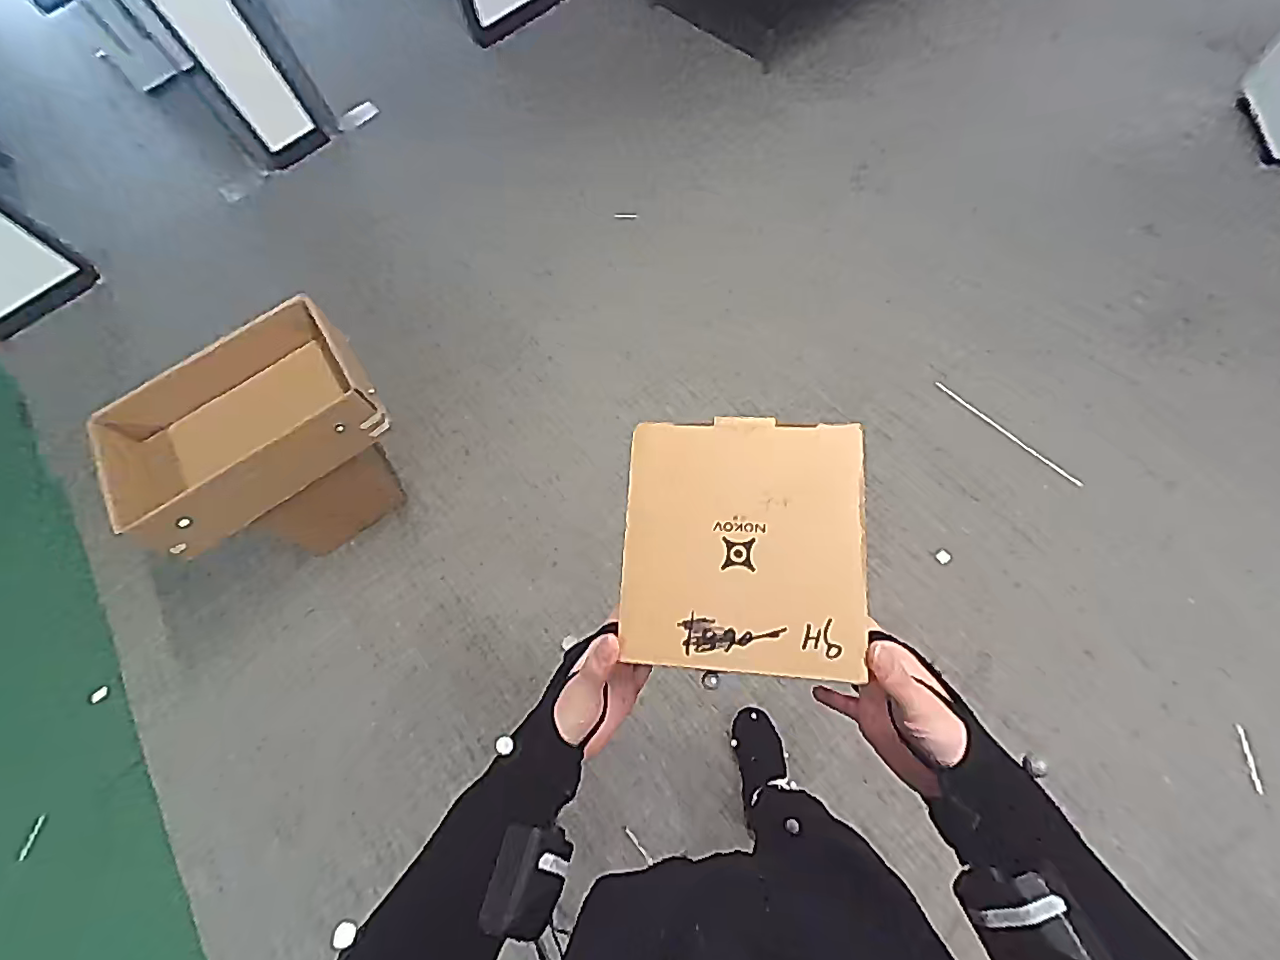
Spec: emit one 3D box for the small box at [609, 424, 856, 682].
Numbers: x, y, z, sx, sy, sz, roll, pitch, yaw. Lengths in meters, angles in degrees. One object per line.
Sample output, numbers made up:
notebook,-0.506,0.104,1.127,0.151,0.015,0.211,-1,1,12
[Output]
small box,0.079,0.064,0.455,0.168,0.176,0.179,1,76,12
